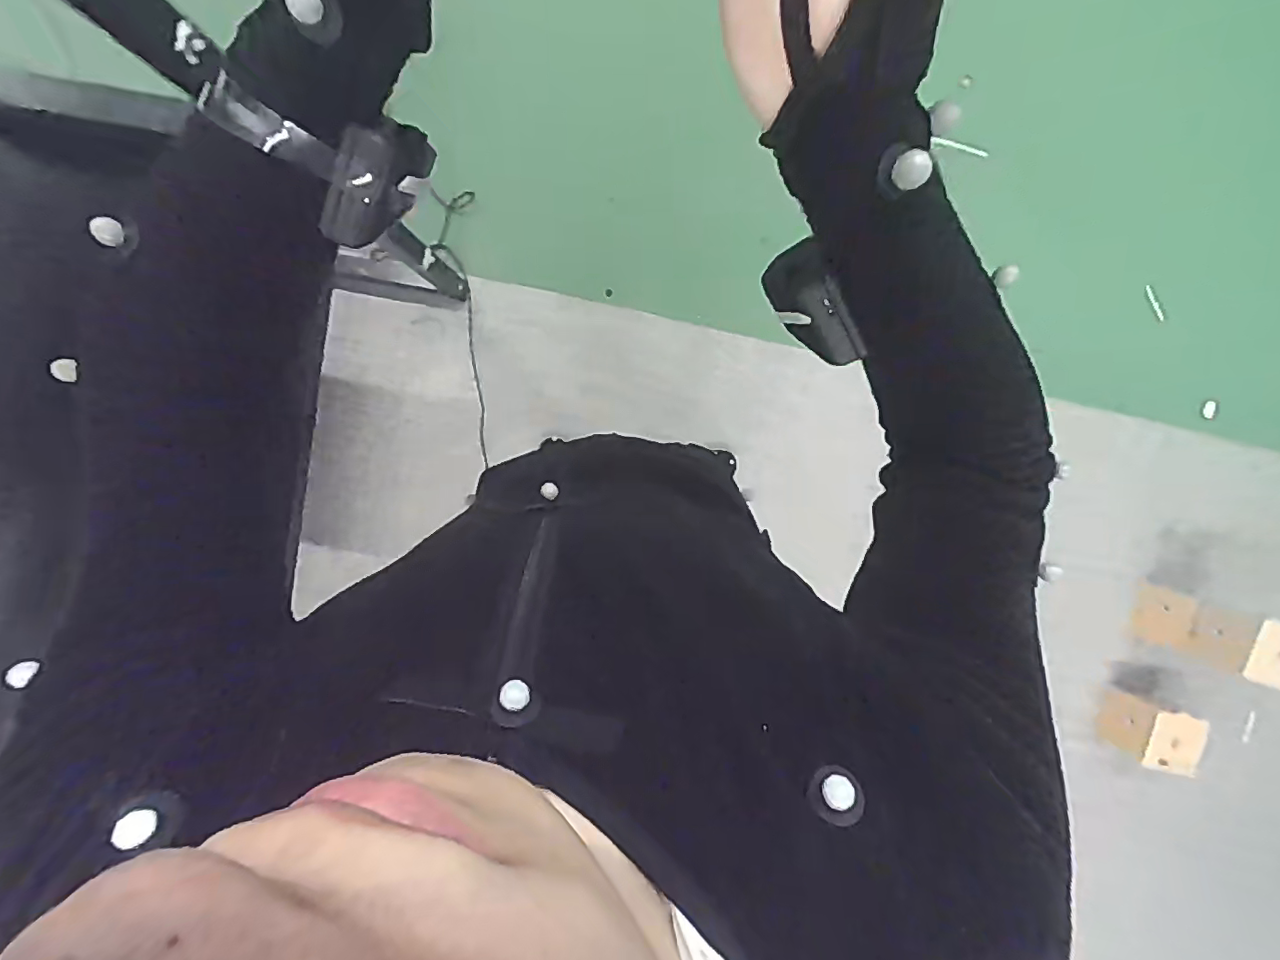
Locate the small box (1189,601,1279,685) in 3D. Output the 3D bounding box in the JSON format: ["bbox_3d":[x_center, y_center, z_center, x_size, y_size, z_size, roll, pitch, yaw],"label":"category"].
[{"bbox_3d":[1.644,0.438,1.442,0.179,0.176,0.168,17,95,-3],"label":"small box"}]

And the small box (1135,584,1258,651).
[{"bbox_3d":[1.642,0.421,1.606,0.179,0.176,0.168,15,94,-3],"label":"small box"}]

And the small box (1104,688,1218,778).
[{"bbox_3d":[1.559,0.754,1.629,0.168,0.176,0.179,13,94,-2],"label":"small box"}]
